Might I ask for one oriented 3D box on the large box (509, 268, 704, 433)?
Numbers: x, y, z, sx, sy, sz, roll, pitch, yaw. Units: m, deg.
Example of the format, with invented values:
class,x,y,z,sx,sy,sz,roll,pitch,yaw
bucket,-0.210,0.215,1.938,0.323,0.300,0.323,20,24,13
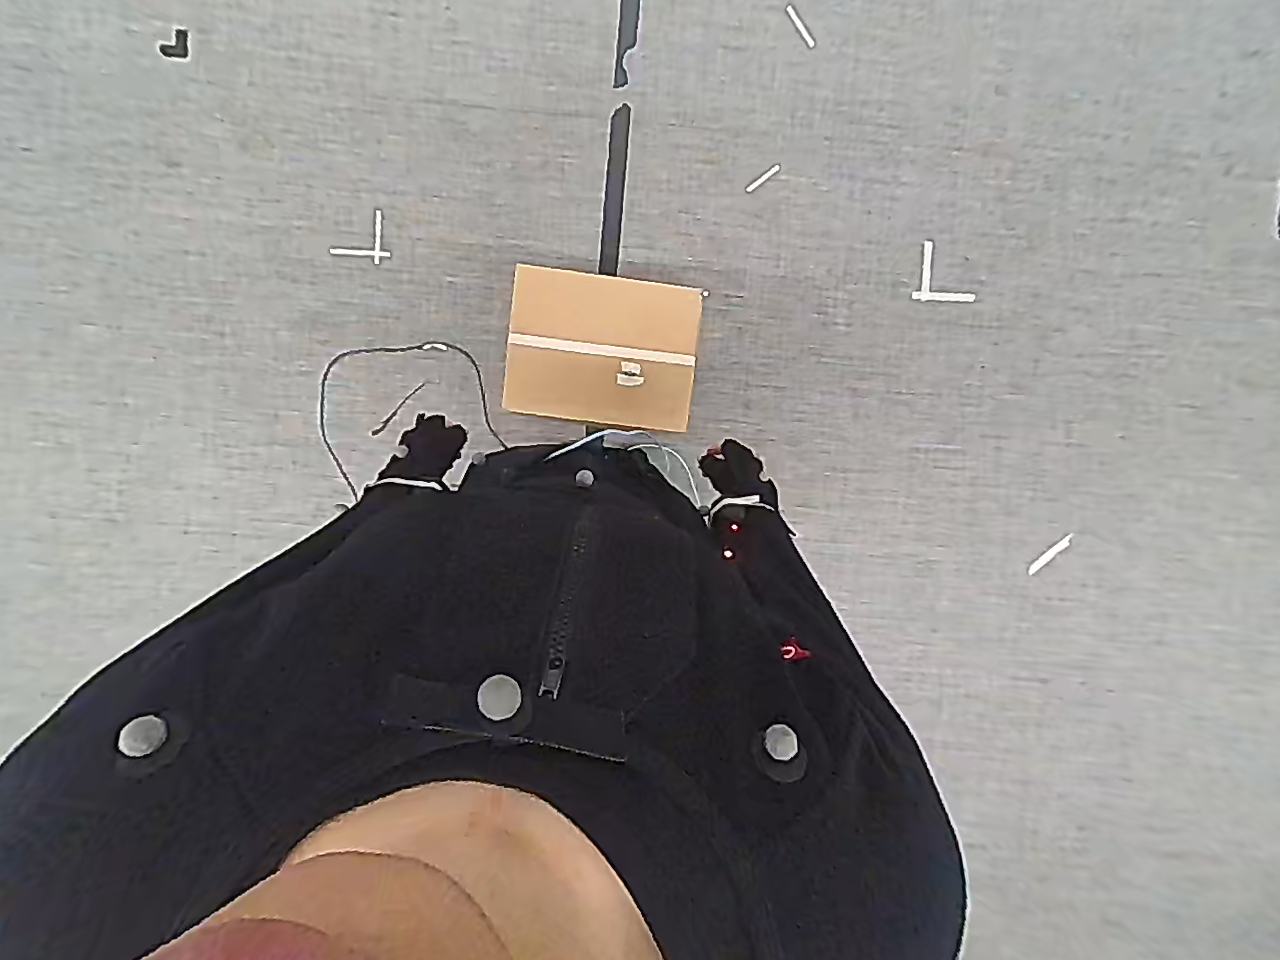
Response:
class,x,y,z,sx,sy,sz,roll,pitch,yaw
large box,-0.083,-0.292,1.322,0.408,0.320,0.320,7,94,-3
